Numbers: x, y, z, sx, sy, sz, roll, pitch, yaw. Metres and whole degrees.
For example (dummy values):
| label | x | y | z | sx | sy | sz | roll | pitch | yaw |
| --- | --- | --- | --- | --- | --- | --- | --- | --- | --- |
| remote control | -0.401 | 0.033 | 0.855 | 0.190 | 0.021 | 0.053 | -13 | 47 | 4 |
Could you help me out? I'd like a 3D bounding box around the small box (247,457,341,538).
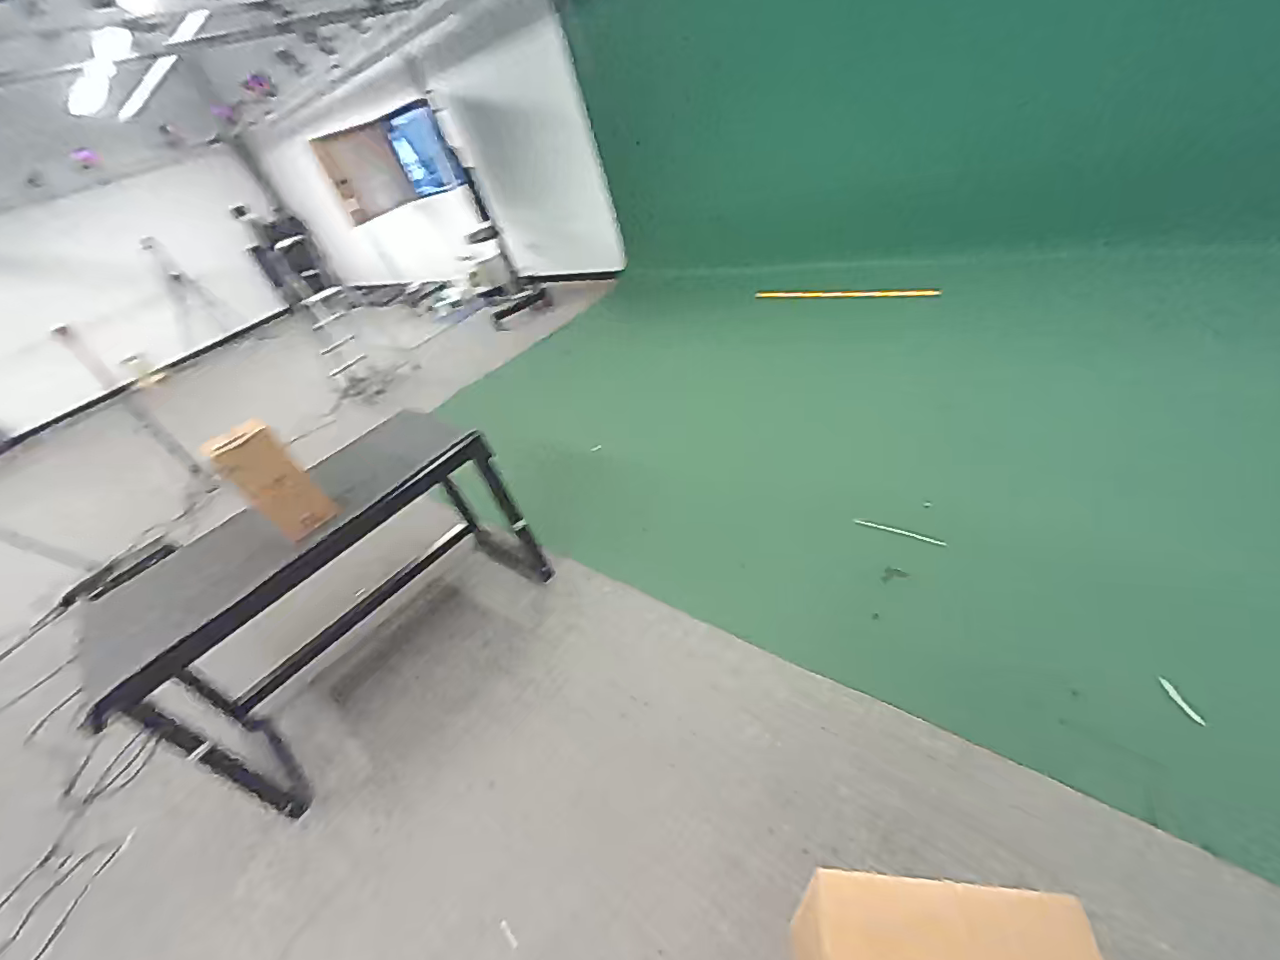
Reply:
| label | x | y | z | sx | sy | sz | roll | pitch | yaw |
| --- | --- | --- | --- | --- | --- | --- | --- | --- | --- |
| small box | -1.074 | 0.056 | 1.683 | 0.179 | 0.176 | 0.168 | 19 | 51 | 42 |
